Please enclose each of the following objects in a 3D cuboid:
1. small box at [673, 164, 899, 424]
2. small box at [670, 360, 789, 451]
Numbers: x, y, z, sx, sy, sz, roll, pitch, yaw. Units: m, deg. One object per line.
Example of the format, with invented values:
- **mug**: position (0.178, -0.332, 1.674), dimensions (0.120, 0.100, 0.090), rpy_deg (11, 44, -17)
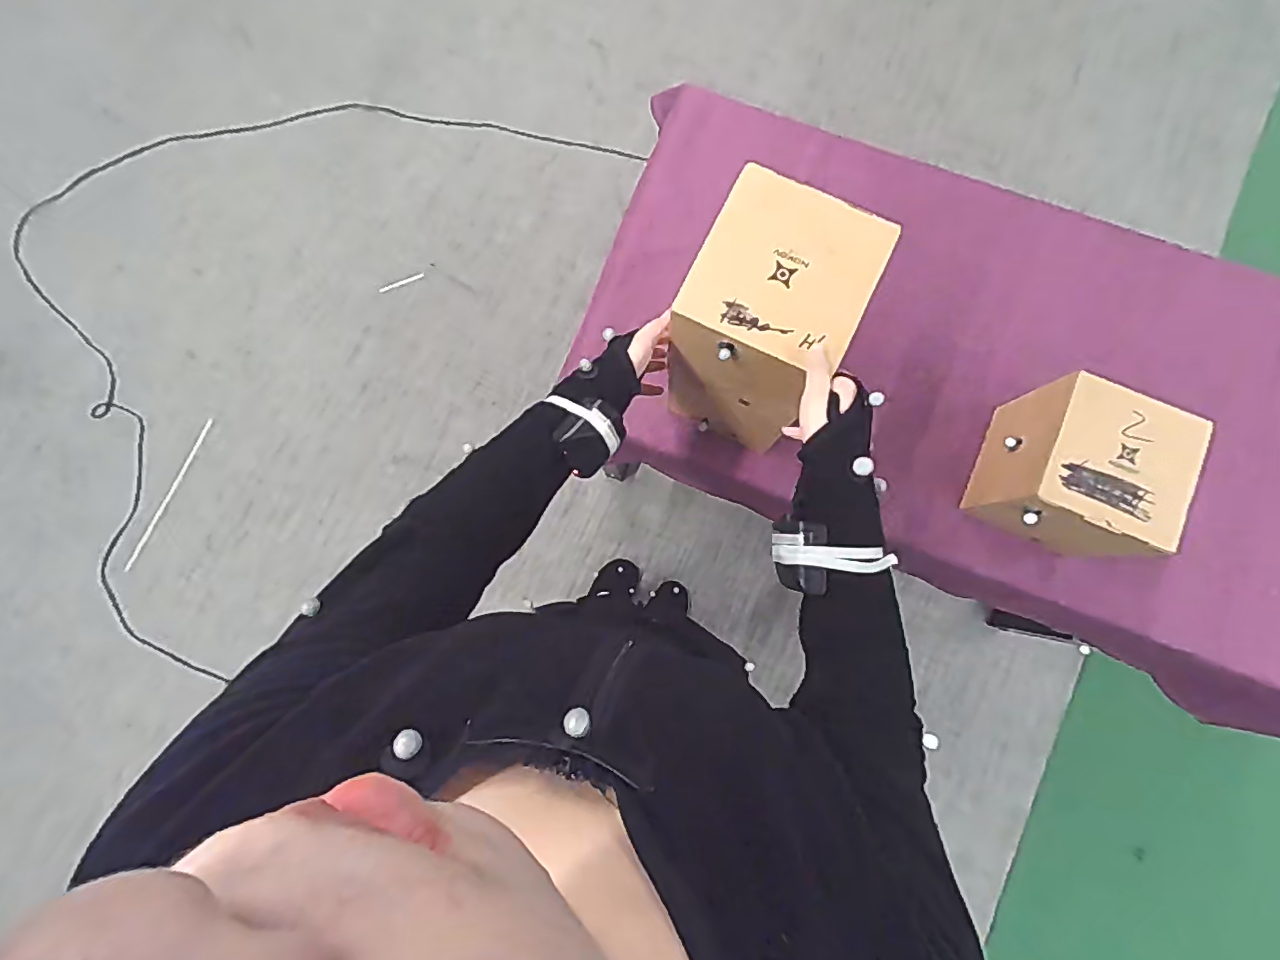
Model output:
- **small box**: position (0.142, -0.188, 0.592), dimensions (0.168, 0.176, 0.179), rpy_deg (26, 82, 7)
- **small box**: position (0.148, -0.163, 0.755), dimensions (0.168, 0.176, 0.179), rpy_deg (27, 84, 6)
